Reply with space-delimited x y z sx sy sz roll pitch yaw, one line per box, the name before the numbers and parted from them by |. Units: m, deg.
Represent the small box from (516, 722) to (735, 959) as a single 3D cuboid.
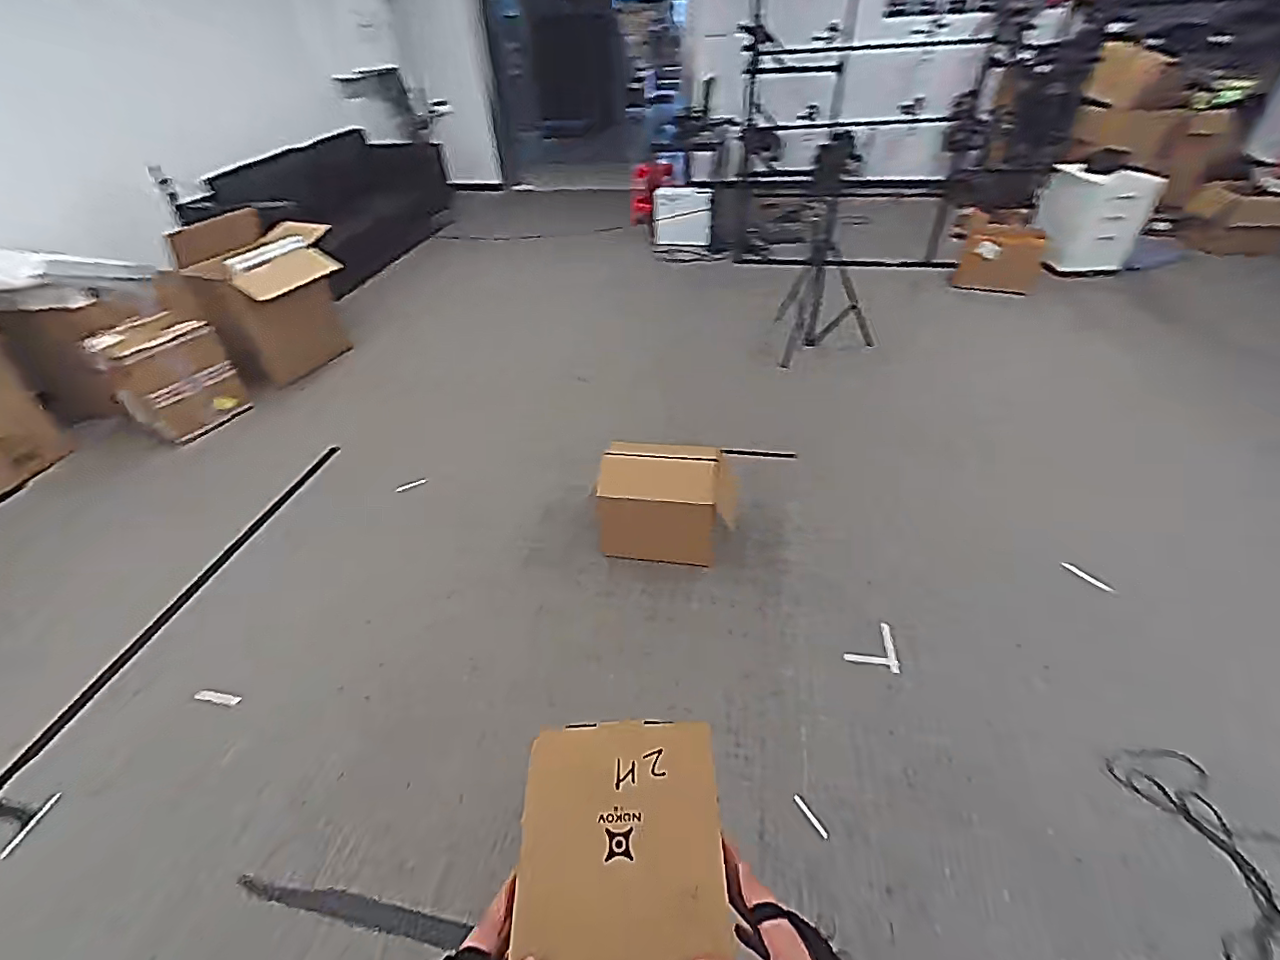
small box | -0.006 0.347 0.507 0.168 0.176 0.179 -1 45 1
